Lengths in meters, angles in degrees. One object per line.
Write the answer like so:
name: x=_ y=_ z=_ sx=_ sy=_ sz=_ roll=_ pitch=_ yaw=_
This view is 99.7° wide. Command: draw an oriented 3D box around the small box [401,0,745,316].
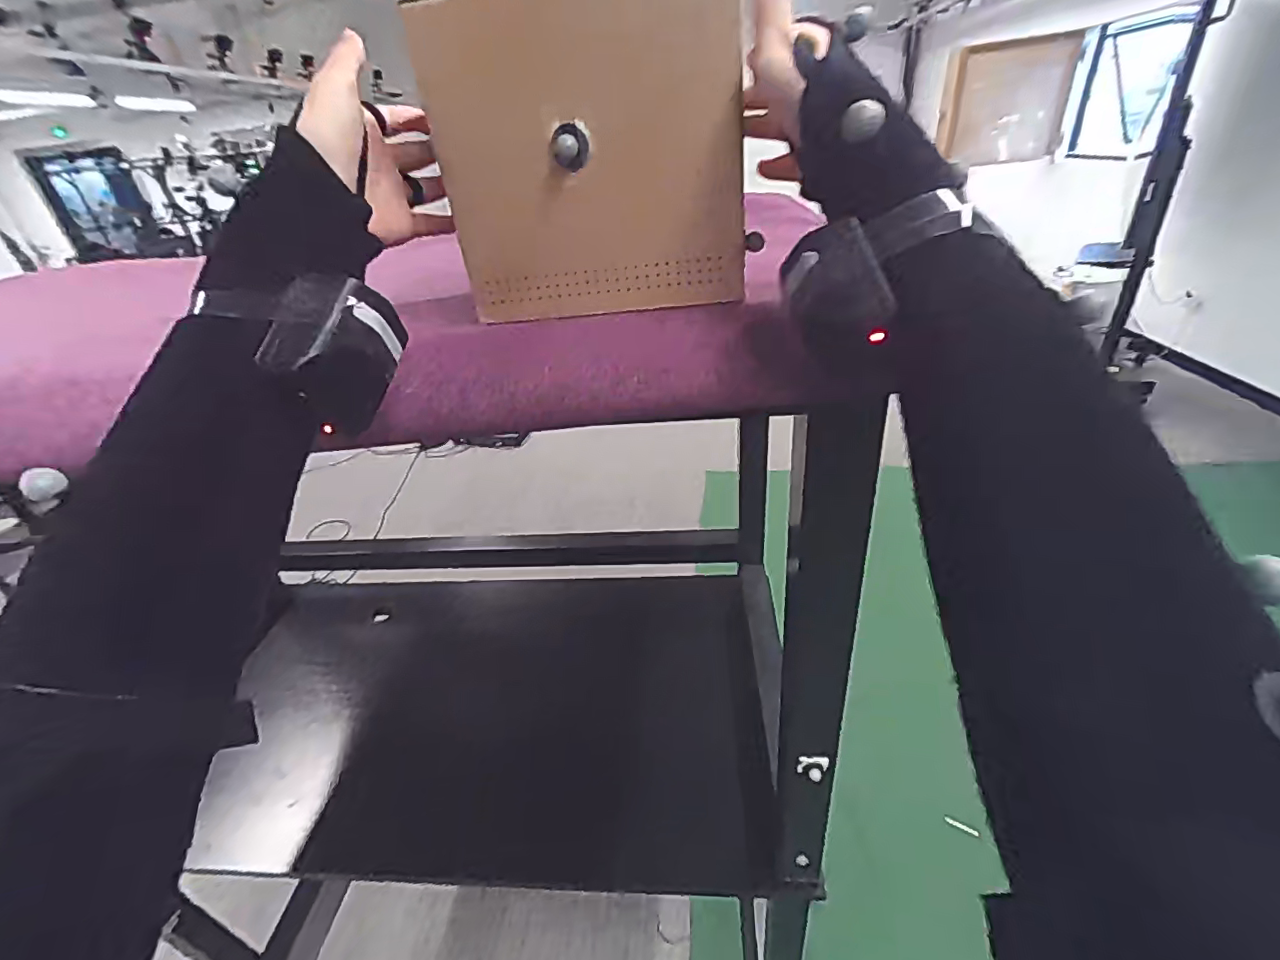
small box: x=-0.020 y=-0.222 z=0.372 sx=0.179 sy=0.176 sz=0.168 roll=-3 pitch=31 yaw=9
